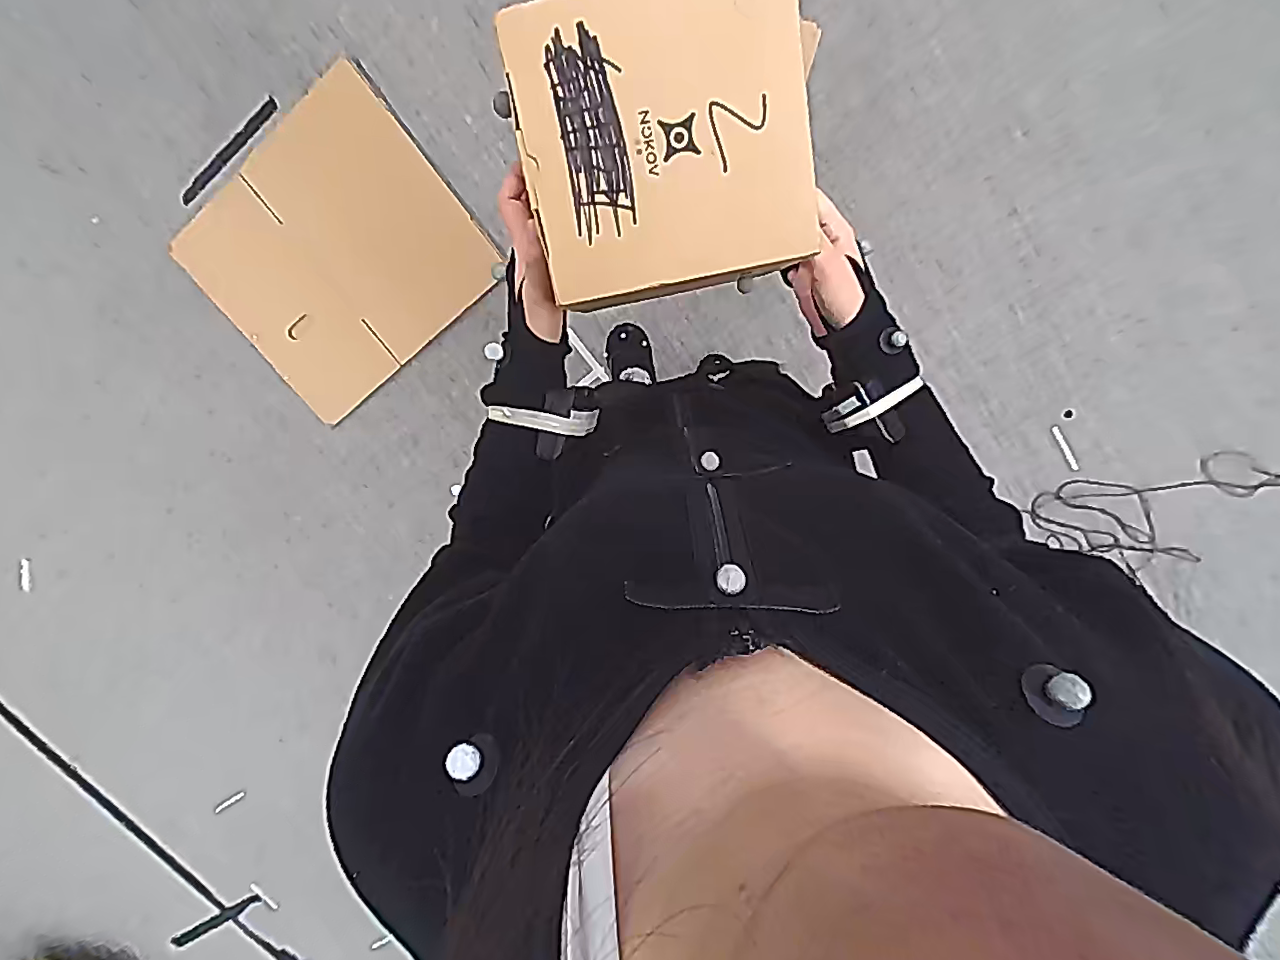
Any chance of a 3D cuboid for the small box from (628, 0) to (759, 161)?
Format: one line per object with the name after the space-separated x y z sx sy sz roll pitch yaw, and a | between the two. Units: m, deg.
0.085 -0.668 0.923 0.179 0.176 0.168 12 108 -1 | small box
